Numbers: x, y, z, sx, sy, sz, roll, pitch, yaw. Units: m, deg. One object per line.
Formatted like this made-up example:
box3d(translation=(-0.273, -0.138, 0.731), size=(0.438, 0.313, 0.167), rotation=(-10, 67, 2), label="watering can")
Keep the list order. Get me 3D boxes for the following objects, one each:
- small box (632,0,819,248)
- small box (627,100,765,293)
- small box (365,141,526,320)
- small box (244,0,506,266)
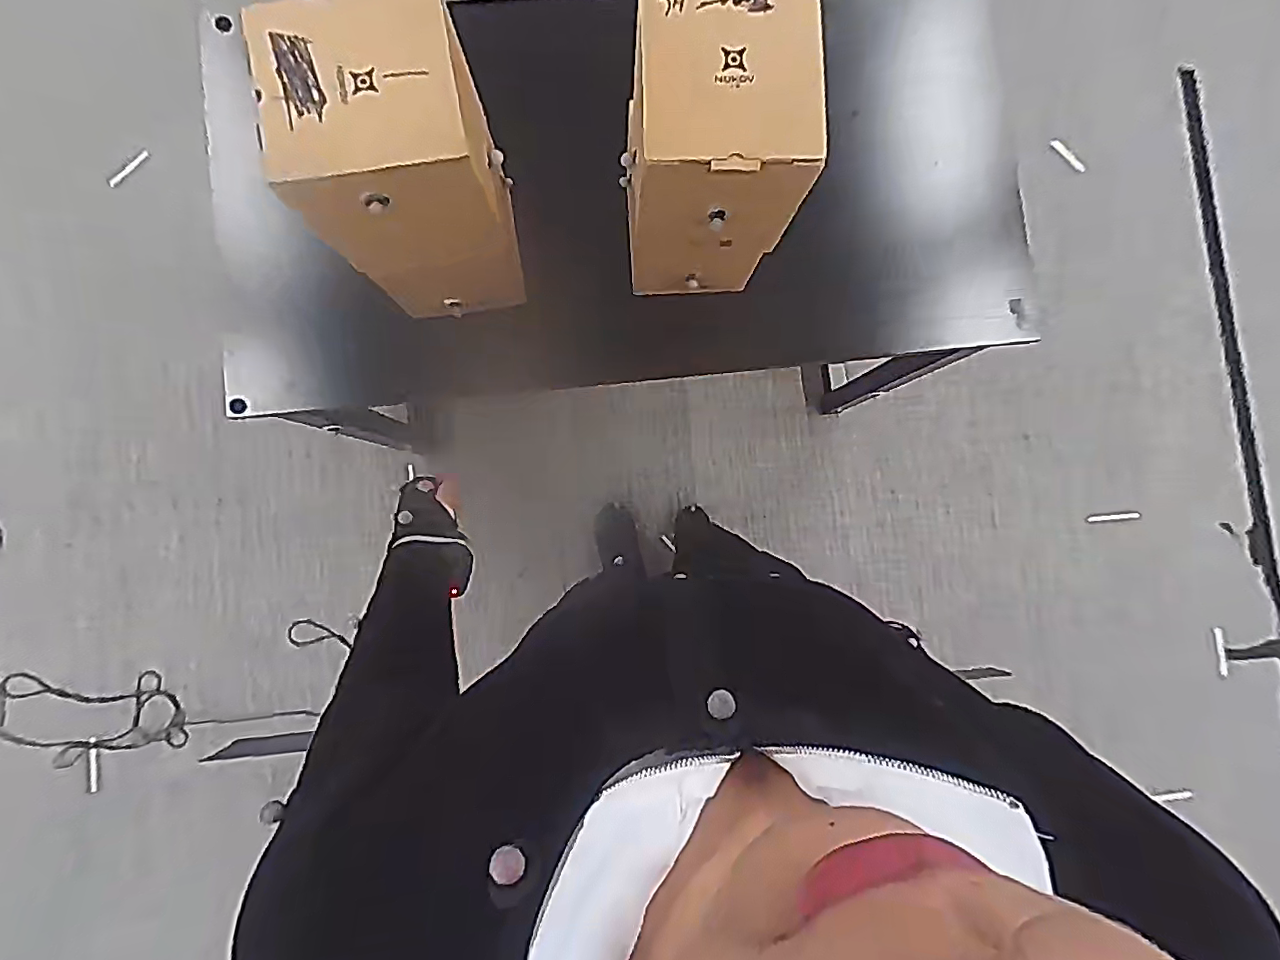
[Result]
box3d(translation=(0.077, -0.361, 0.565), size=(0.168, 0.176, 0.179), rotation=(-1, 88, -2), label="small box")
box3d(translation=(0.068, -0.371, 0.729), size=(0.168, 0.176, 0.179), rotation=(-3, 87, -2), label="small box")
box3d(translation=(-0.256, -0.334, 0.715), size=(0.168, 0.176, 0.179), rotation=(-10, 88, -2), label="small box")
box3d(translation=(-0.250, -0.339, 0.550), size=(0.179, 0.176, 0.168), rotation=(-11, 87, -3), label="small box")
